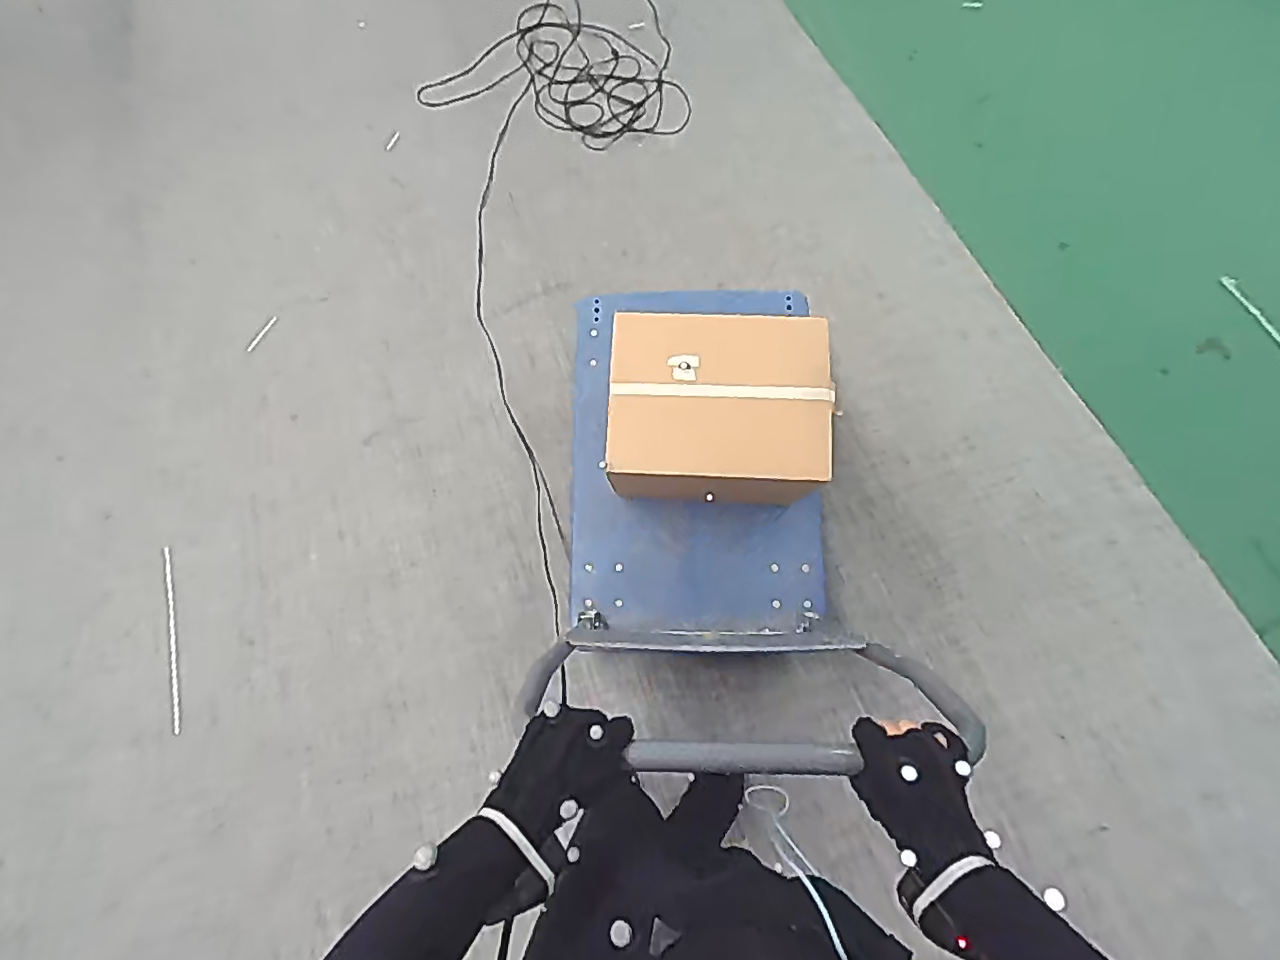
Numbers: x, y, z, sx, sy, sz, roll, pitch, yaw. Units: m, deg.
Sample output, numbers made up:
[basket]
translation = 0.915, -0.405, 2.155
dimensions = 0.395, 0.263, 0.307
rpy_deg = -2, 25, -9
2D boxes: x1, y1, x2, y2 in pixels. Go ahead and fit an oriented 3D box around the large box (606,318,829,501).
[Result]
[large box]
translation = 0.153, -0.128, 1.137
dimensions = 0.408, 0.320, 0.320
rpy_deg = 3, 80, 4
